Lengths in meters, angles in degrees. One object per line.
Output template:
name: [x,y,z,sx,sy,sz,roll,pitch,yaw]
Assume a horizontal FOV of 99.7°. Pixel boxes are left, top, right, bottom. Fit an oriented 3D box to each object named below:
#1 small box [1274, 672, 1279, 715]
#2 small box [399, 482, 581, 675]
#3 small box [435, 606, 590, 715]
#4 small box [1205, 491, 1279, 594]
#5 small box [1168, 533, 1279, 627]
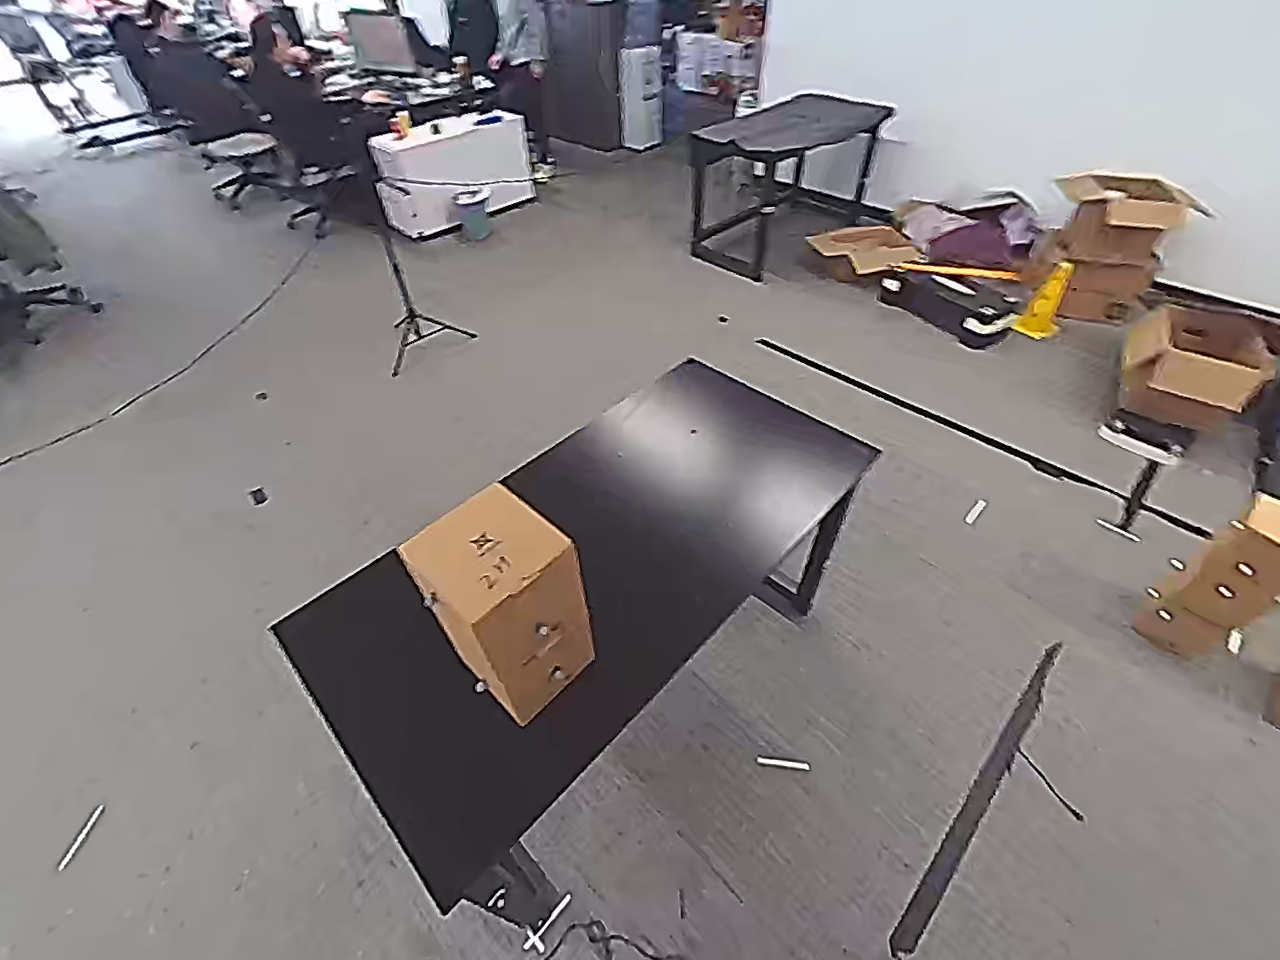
small box: [1.926,0.599,1.493,0.168,0.176,0.179,32,56,30]
small box: [-0.204,0.141,0.772,0.179,0.176,0.168,33,56,29]
small box: [-0.199,0.257,0.891,0.179,0.176,0.168,33,55,28]
small box: [1.692,0.170,1.455,0.179,0.176,0.168,-36,56,-27]
small box: [1.698,0.290,1.565,0.179,0.176,0.168,35,57,29]
